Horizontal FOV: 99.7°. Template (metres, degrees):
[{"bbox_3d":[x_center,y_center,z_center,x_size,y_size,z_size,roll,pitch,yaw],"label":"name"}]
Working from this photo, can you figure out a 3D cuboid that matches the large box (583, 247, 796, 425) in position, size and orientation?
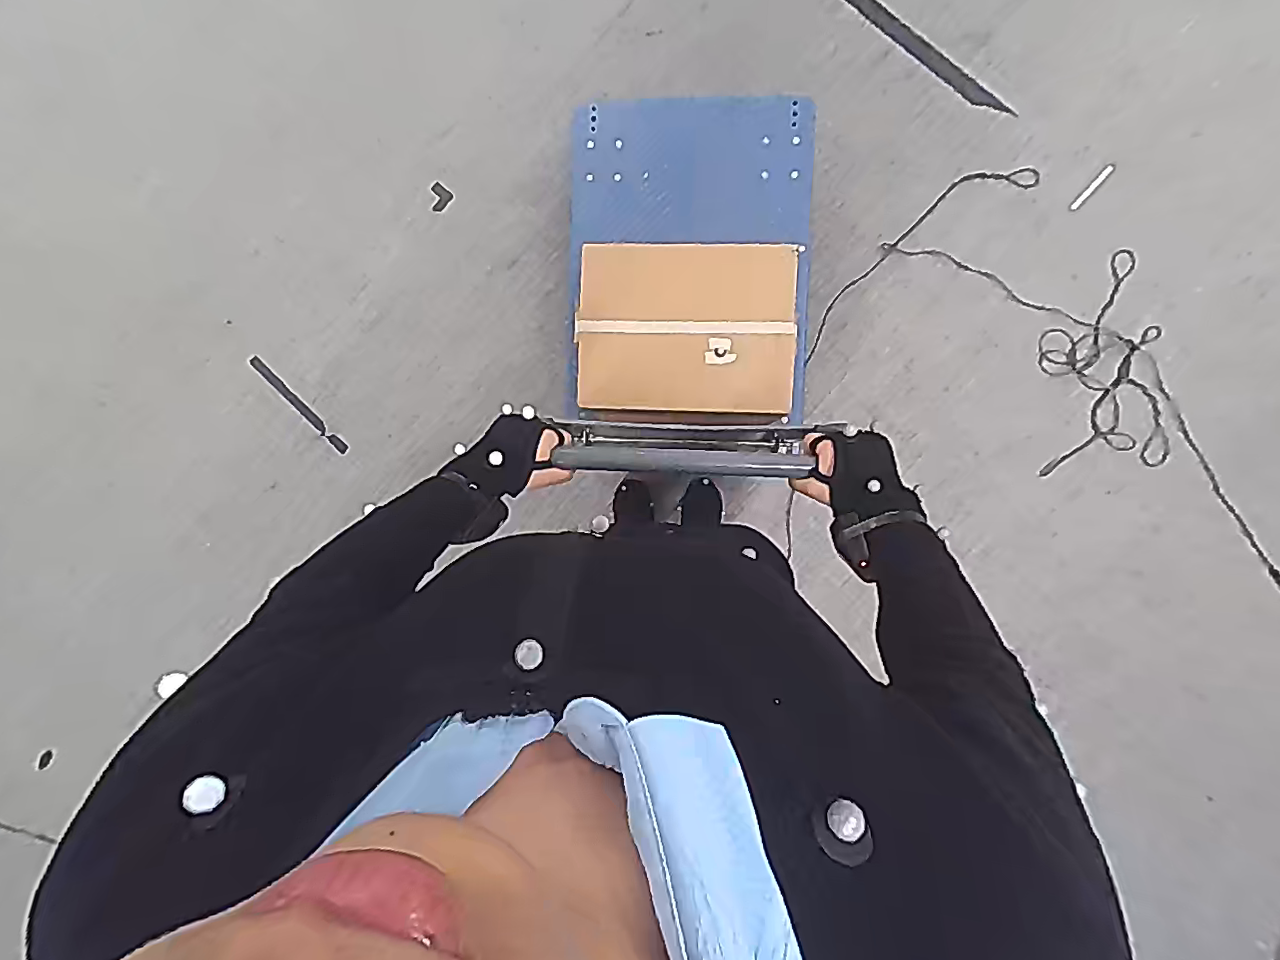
[{"bbox_3d":[0.098,-0.286,1.167,0.408,0.320,0.320,2,92,4],"label":"large box"}]
